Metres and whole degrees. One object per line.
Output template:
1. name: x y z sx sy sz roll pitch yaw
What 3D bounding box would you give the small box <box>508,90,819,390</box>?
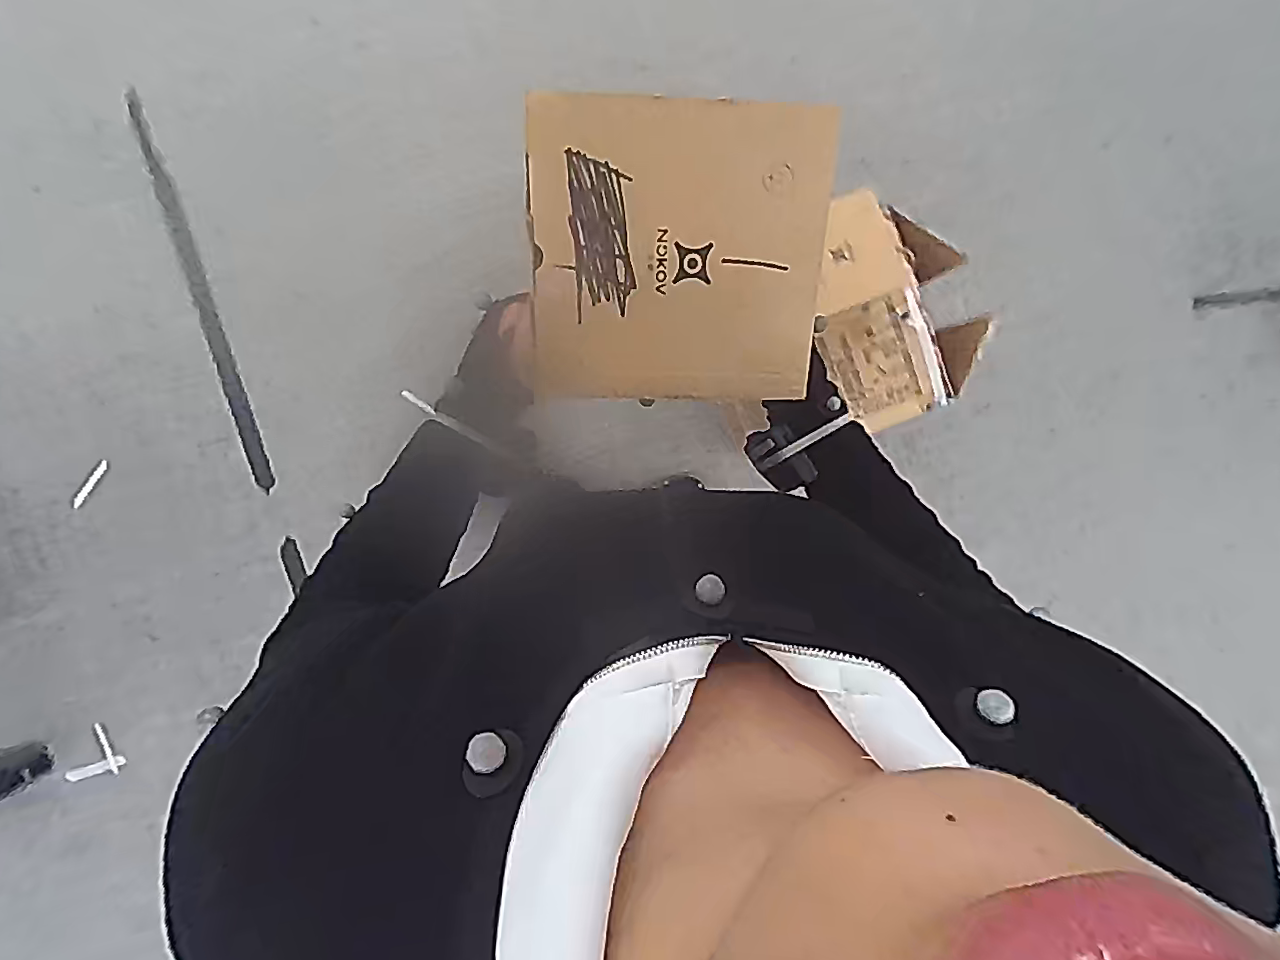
1. small box: 0.009 -0.163 0.400 0.179 0.176 0.168 -1 110 -4

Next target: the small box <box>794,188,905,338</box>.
1. small box: 0.315 -0.360 0.936 0.179 0.176 0.168 -22 93 2
